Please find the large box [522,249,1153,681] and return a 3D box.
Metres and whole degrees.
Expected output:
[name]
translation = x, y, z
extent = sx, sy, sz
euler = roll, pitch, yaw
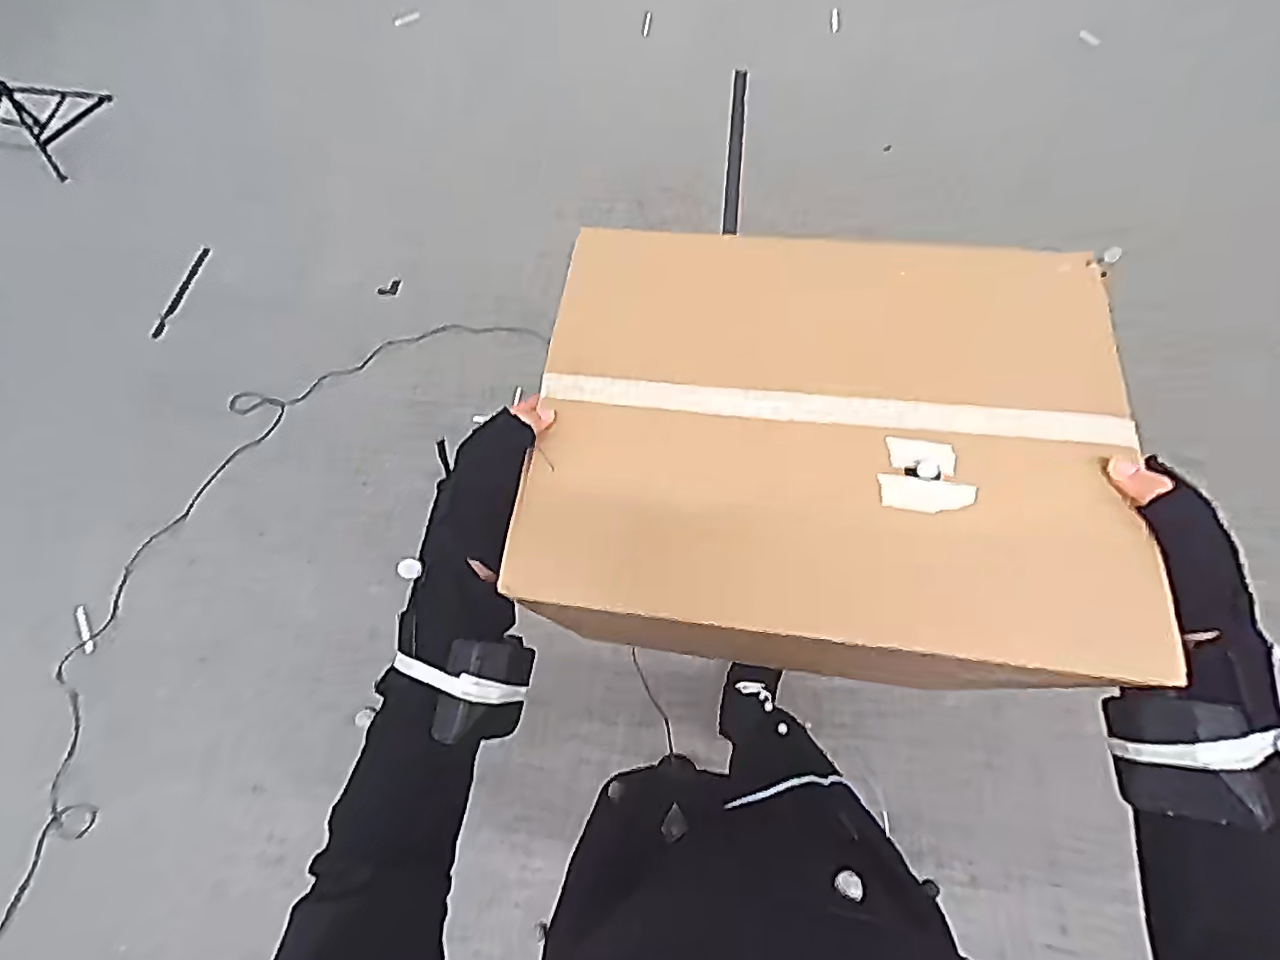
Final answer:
[large box]
translation = 0.141, 0.010, 0.536
extent = 0.408, 0.320, 0.320
euler = 6, 70, 7
